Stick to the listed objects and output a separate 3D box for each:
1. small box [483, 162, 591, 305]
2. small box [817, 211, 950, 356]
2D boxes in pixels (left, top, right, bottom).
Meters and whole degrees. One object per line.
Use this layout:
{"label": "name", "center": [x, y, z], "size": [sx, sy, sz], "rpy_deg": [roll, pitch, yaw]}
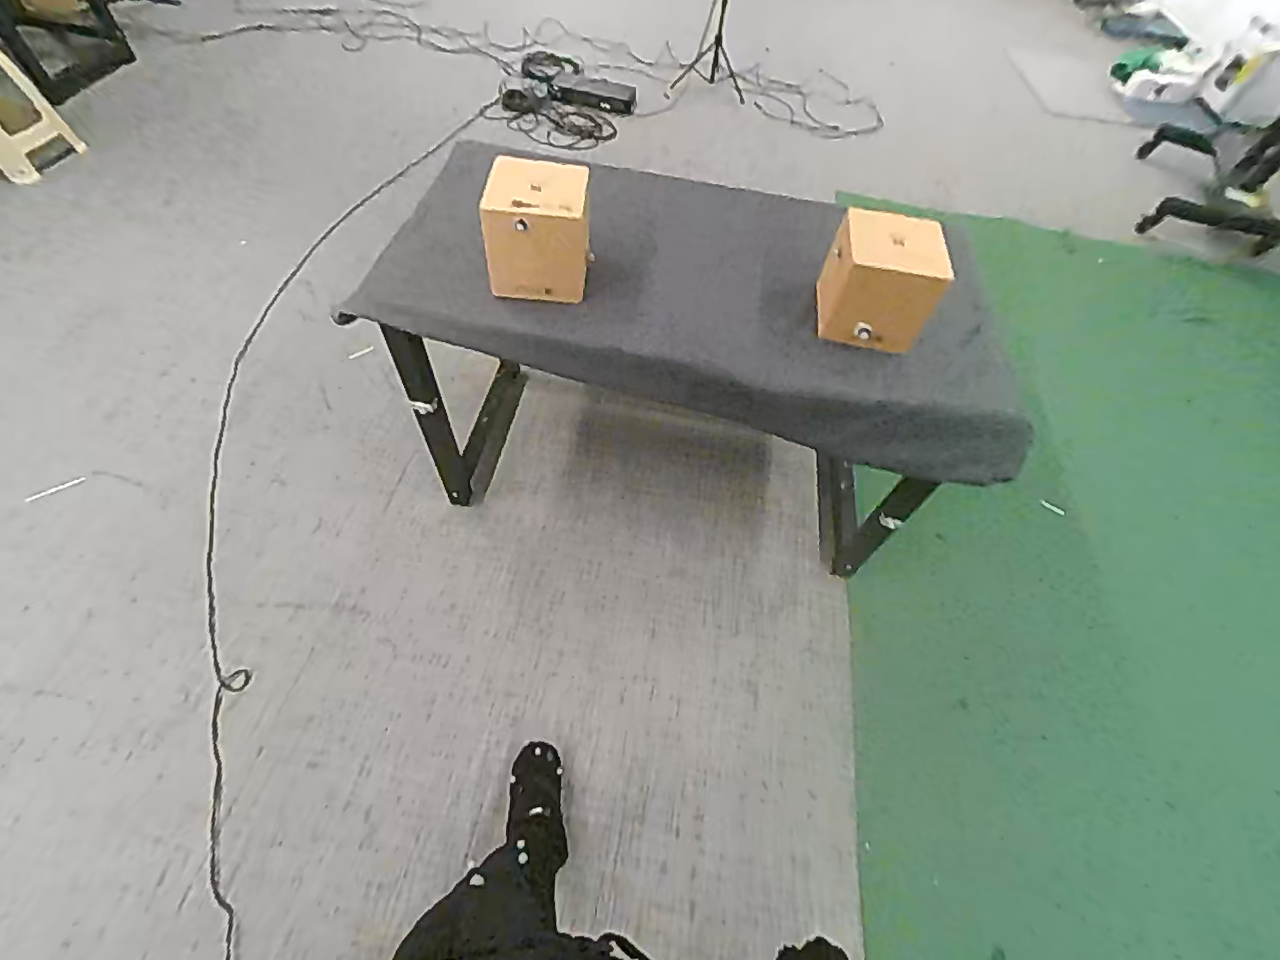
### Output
{"label": "small box", "center": [-0.178, -0.448, 0.987], "size": [0.168, 0.176, 0.179], "rpy_deg": [3, 54, -3]}
{"label": "small box", "center": [0.433, -0.359, 0.995], "size": [0.168, 0.176, 0.179], "rpy_deg": [10, 56, 2]}
